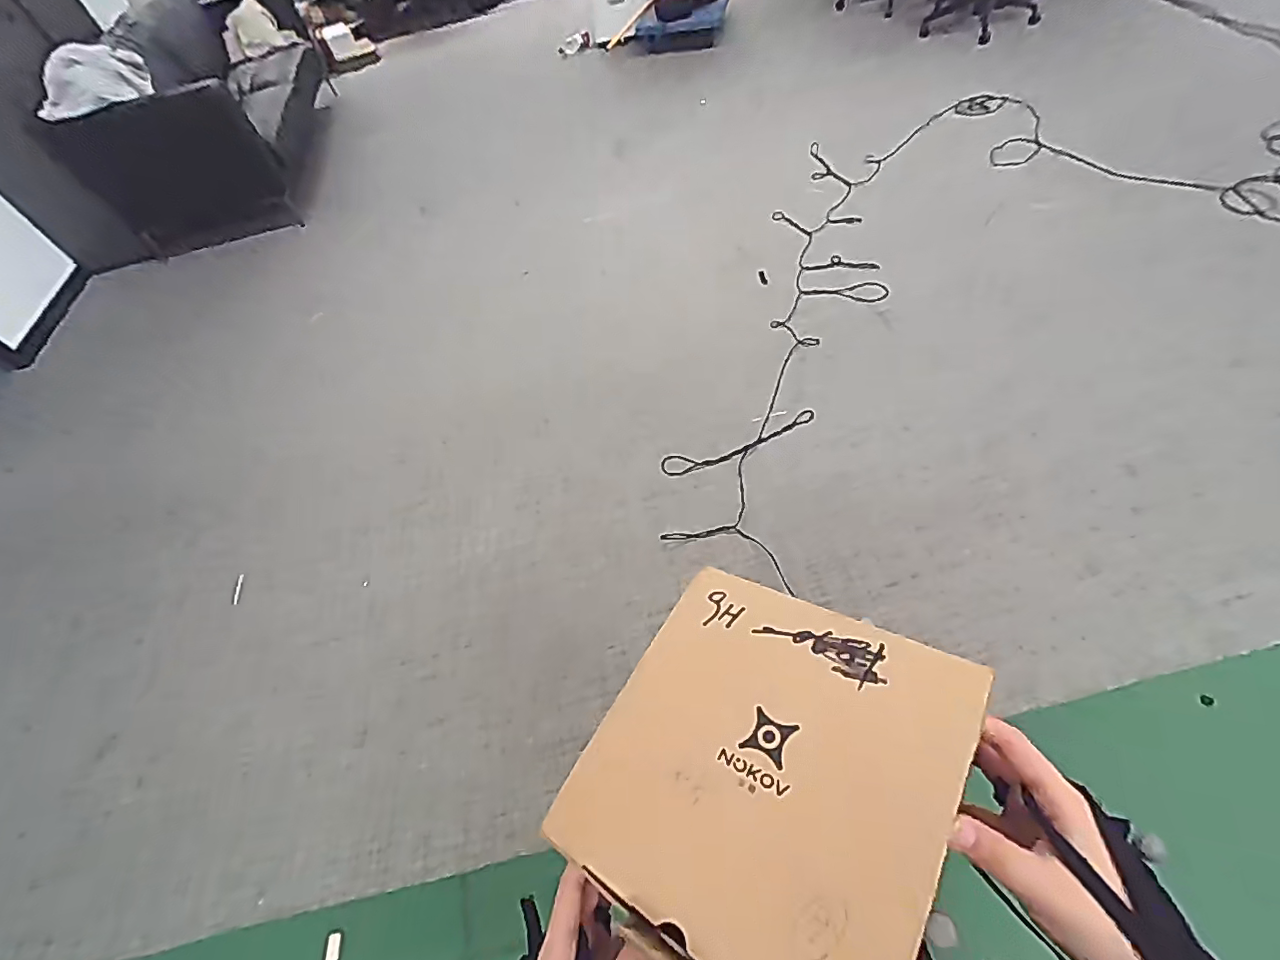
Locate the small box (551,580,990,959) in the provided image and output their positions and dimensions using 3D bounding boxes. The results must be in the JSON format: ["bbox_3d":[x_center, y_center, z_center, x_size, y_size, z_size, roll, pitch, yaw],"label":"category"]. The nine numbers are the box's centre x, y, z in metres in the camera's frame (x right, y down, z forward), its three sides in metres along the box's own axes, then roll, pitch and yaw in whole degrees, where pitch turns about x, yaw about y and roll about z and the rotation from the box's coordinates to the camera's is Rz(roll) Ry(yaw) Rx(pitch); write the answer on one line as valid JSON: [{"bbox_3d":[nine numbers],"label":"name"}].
[{"bbox_3d":[0.087,0.197,0.323,0.168,0.176,0.179,16,56,36],"label":"small box"}]
